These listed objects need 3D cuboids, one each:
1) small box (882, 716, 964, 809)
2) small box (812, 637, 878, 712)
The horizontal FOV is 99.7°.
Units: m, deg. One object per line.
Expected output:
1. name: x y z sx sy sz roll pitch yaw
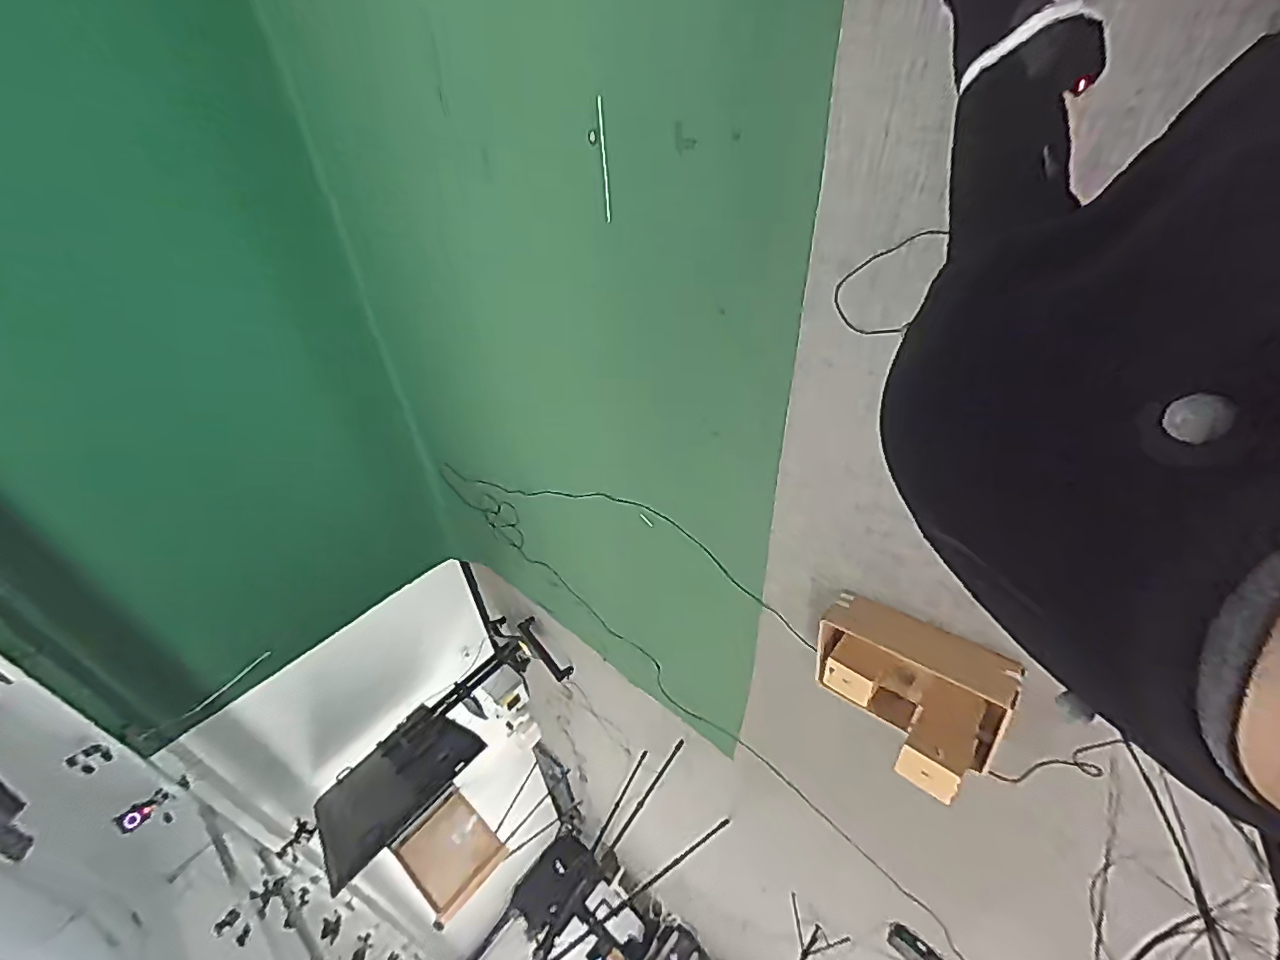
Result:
1. small box: 0.926 0.914 1.766 0.179 0.176 0.168 26 134 35
2. small box: 0.781 0.731 2.055 0.179 0.176 0.168 25 134 32
